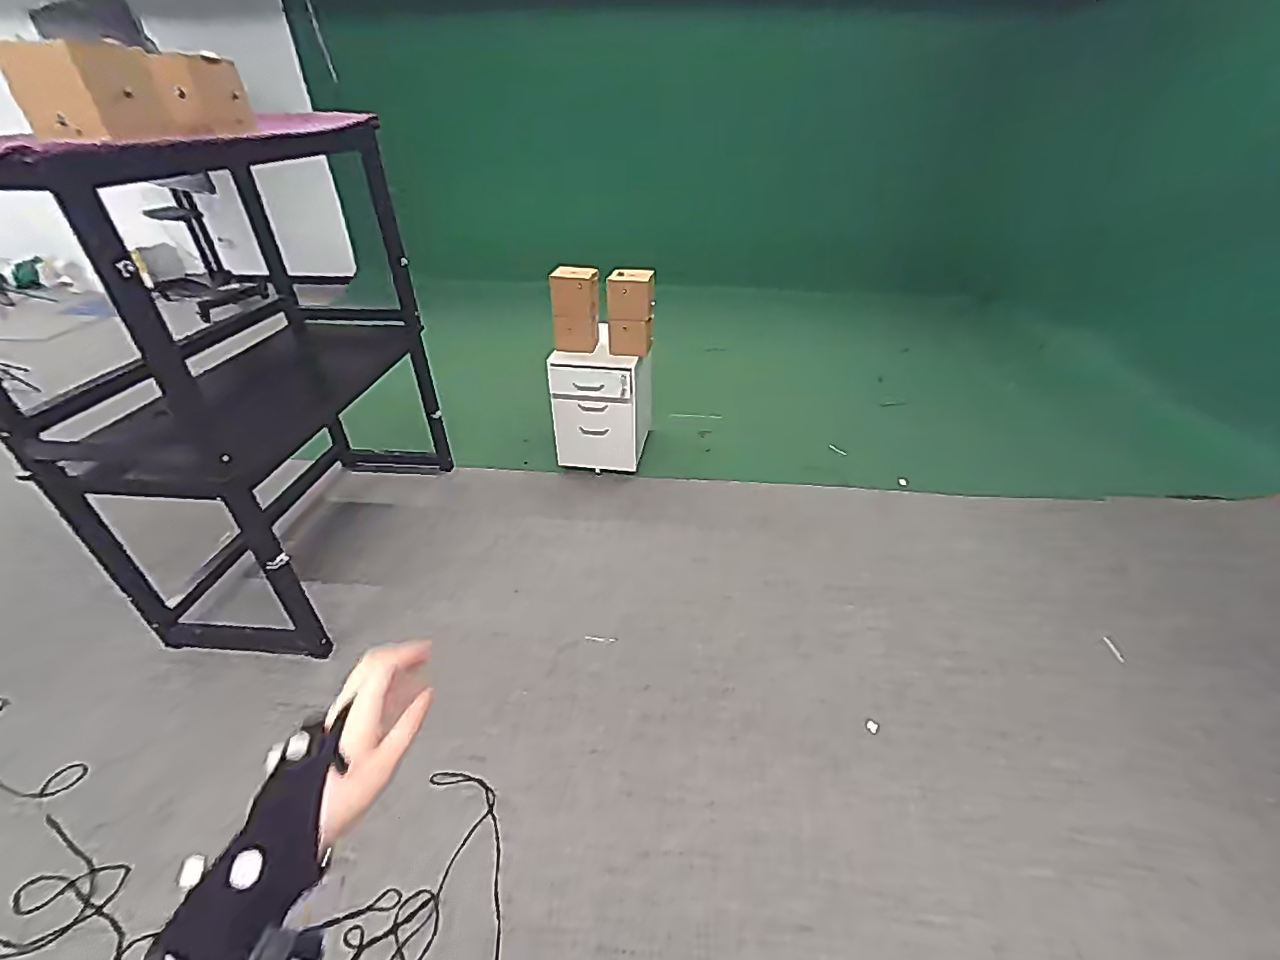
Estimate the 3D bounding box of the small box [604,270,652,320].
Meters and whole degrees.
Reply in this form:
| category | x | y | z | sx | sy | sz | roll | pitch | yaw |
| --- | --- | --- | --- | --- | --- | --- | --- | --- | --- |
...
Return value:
| category | x | y | z | sx | sy | sz | roll | pitch | yaw |
| --- | --- | --- | --- | --- | --- | --- | --- | --- | --- |
| small box | -0.048 | -0.795 | 2.325 | 0.179 | 0.176 | 0.168 | 6 | 36 | 9 |

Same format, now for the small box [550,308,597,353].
| category | x | y | z | sx | sy | sz | roll | pitch | yaw |
| --- | --- | --- | --- | --- | --- | --- | --- | --- | --- |
| small box | -0.298 | -0.690 | 2.466 | 0.179 | 0.176 | 0.168 | 5 | 36 | 6 |

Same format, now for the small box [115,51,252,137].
| category | x | y | z | sx | sy | sz | roll | pitch | yaw |
| --- | --- | --- | --- | --- | --- | --- | --- | --- | --- |
| small box | -1.144 | -0.978 | 1.375 | 0.179 | 0.176 | 0.168 | 3 | 34 | 6 |

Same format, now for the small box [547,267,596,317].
| category | x | y | z | sx | sy | sz | roll | pitch | yaw |
| --- | --- | --- | --- | --- | --- | --- | --- | --- | --- |
| small box | -0.296 | -0.825 | 2.373 | 0.179 | 0.176 | 0.168 | 7 | 35 | 7 |

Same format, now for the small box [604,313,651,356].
| category | x | y | z | sx | sy | sz | roll | pitch | yaw |
| --- | --- | --- | --- | --- | --- | --- | --- | --- | --- |
| small box | -0.052 | -0.664 | 2.424 | 0.179 | 0.176 | 0.168 | 6 | 36 | 10 |
